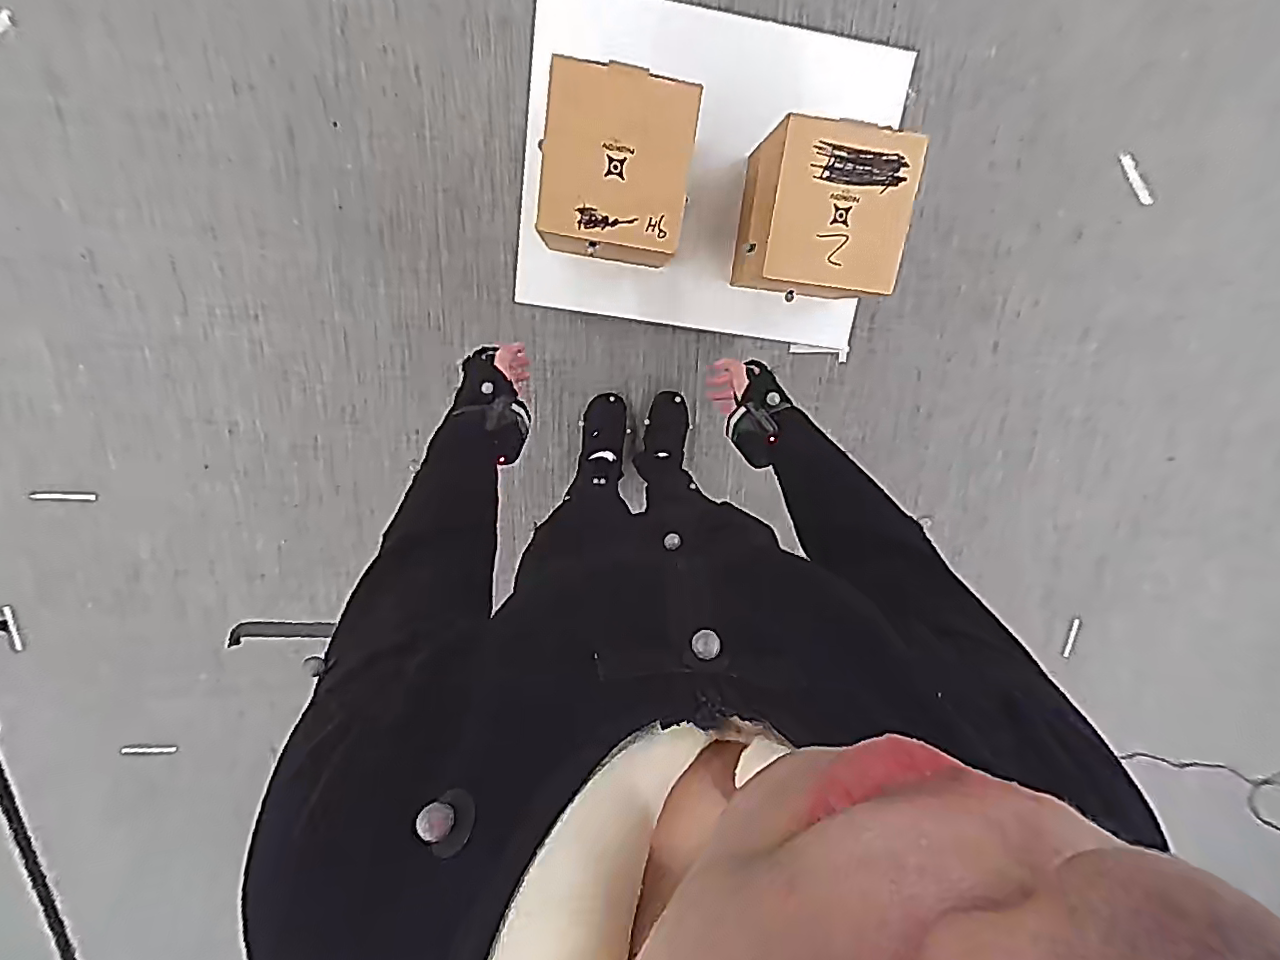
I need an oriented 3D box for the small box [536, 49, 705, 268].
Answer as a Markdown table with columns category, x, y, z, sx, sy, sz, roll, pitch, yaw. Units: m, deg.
| category | x | y | z | sx | sy | sz | roll | pitch | yaw |
| --- | --- | --- | --- | --- | --- | --- | --- | --- | --- |
| small box | -0.030 | -0.375 | 0.668 | 0.168 | 0.176 | 0.179 | 8 | 105 | -6 |
